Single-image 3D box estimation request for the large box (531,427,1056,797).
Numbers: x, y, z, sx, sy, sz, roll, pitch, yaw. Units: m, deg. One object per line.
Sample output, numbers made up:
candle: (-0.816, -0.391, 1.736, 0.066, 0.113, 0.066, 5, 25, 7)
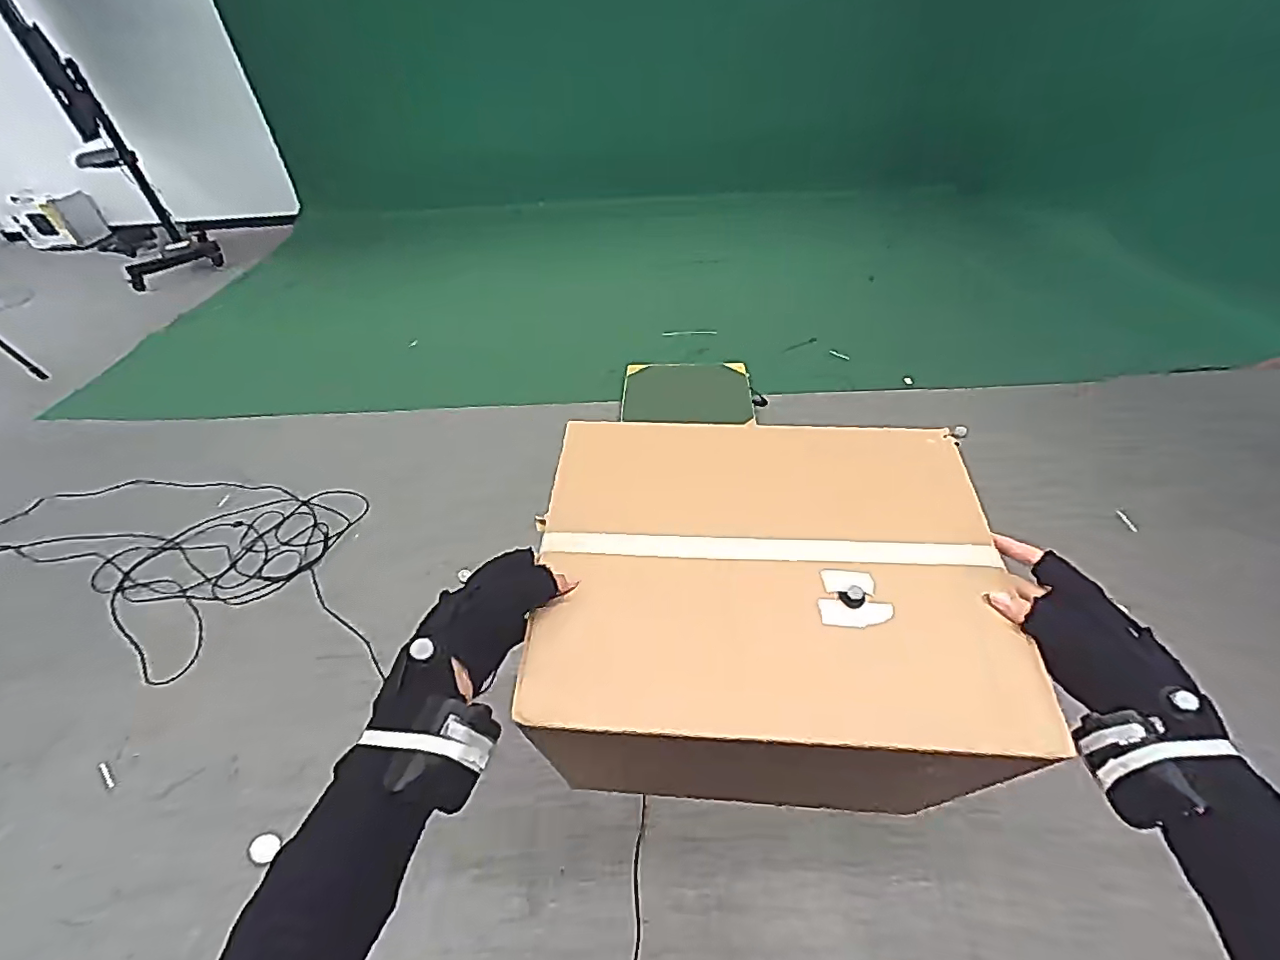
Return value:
large box: (0.120, 0.156, 0.614, 0.408, 0.320, 0.320, 1, 53, 3)
